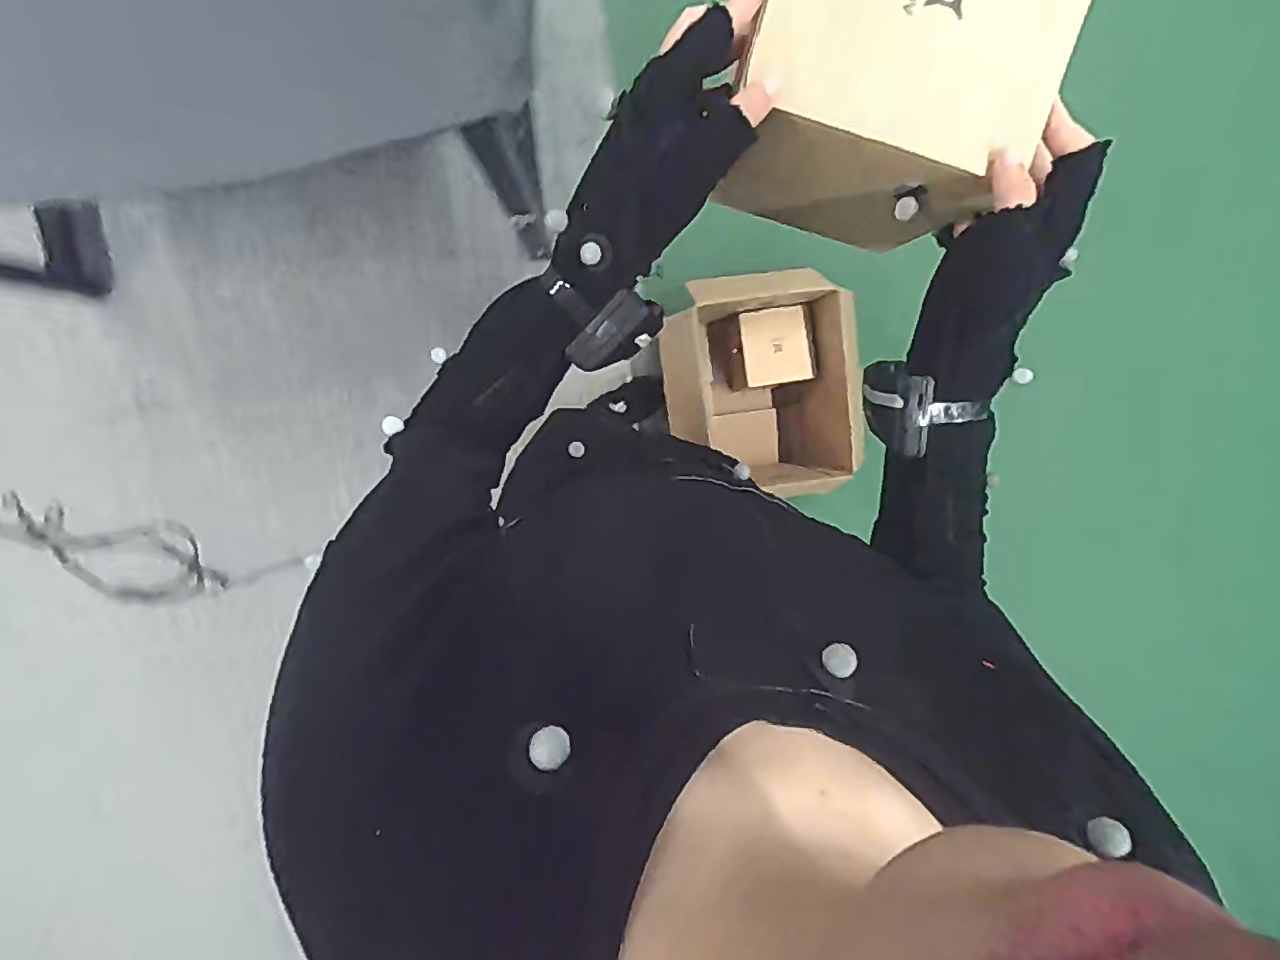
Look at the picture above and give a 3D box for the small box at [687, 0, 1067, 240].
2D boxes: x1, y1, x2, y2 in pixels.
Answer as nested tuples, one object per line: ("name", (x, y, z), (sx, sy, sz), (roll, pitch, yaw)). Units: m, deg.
("small box", (0.142, -0.281, 0.369), (0.179, 0.176, 0.168), (13, 100, -5))
